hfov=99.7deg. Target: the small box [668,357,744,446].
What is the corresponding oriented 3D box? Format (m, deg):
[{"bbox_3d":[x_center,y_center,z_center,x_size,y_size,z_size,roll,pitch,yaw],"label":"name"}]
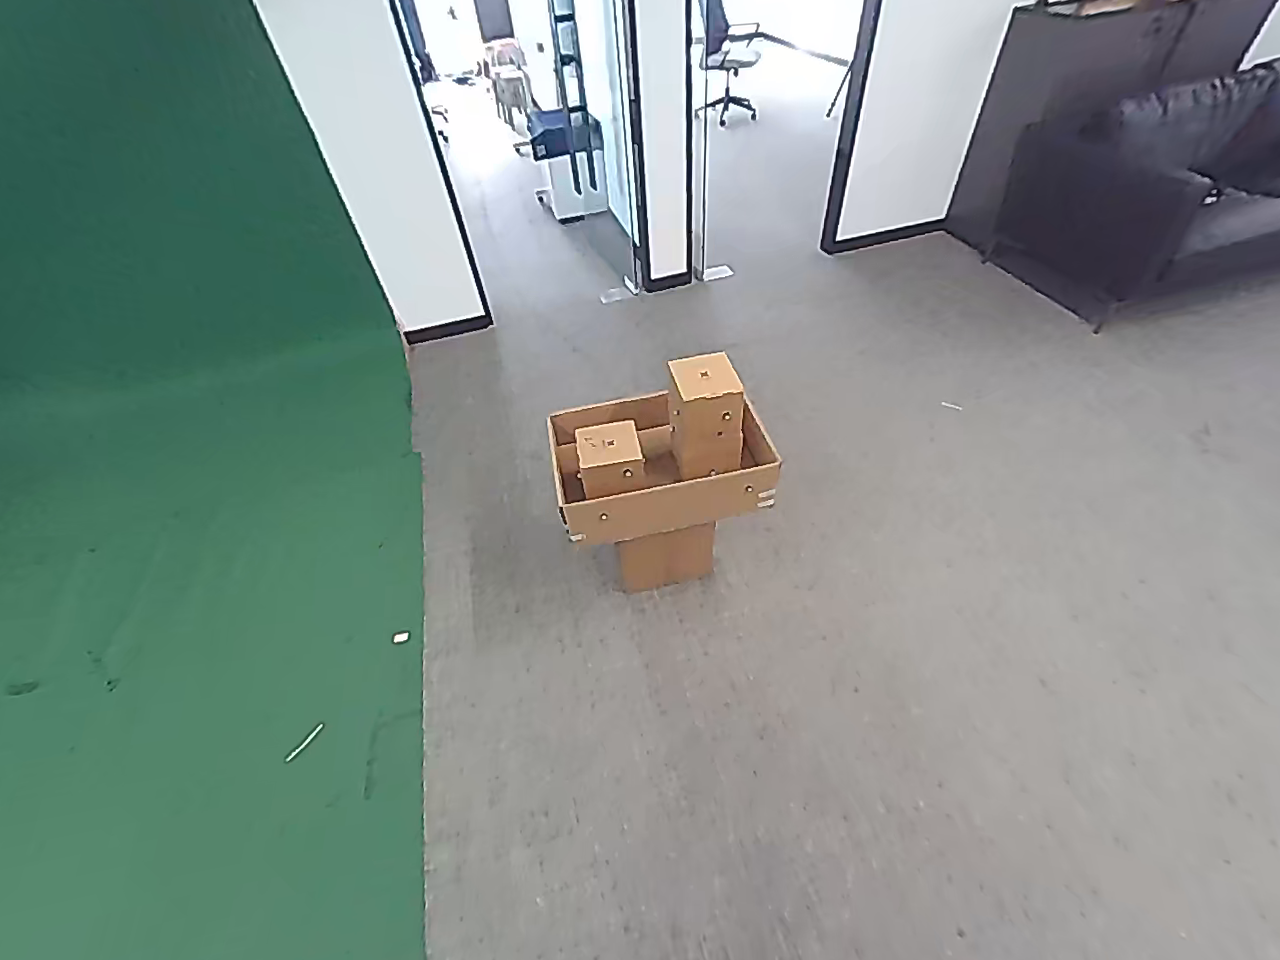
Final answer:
[{"bbox_3d":[0.178,-0.208,1.487,0.168,0.176,0.179,-10,47,-5],"label":"small box"}]
